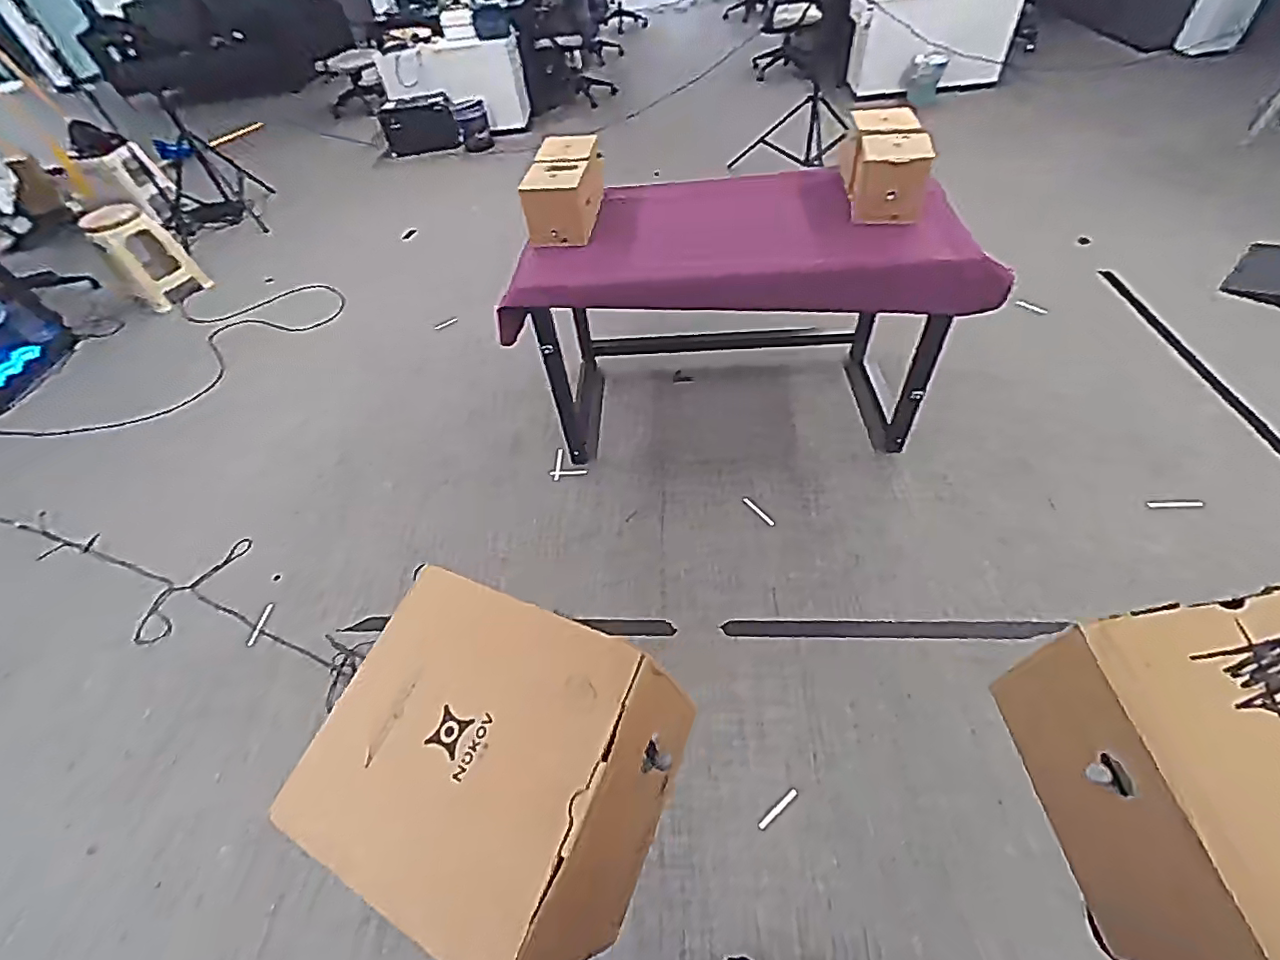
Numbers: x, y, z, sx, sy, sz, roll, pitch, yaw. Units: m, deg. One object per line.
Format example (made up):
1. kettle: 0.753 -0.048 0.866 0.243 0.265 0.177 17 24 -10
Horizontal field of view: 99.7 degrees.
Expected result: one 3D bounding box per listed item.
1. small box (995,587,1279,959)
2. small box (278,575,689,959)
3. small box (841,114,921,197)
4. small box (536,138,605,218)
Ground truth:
1. small box: 0.357 0.181 0.327 0.168 0.176 0.179 -13 56 7
2. small box: -0.081 0.191 0.371 0.179 0.176 0.168 13 62 25
3. small box: 0.705 -0.960 1.601 0.168 0.176 0.179 2 50 8
4. small box: -0.210 -0.943 1.691 0.168 0.176 0.179 2 51 8
